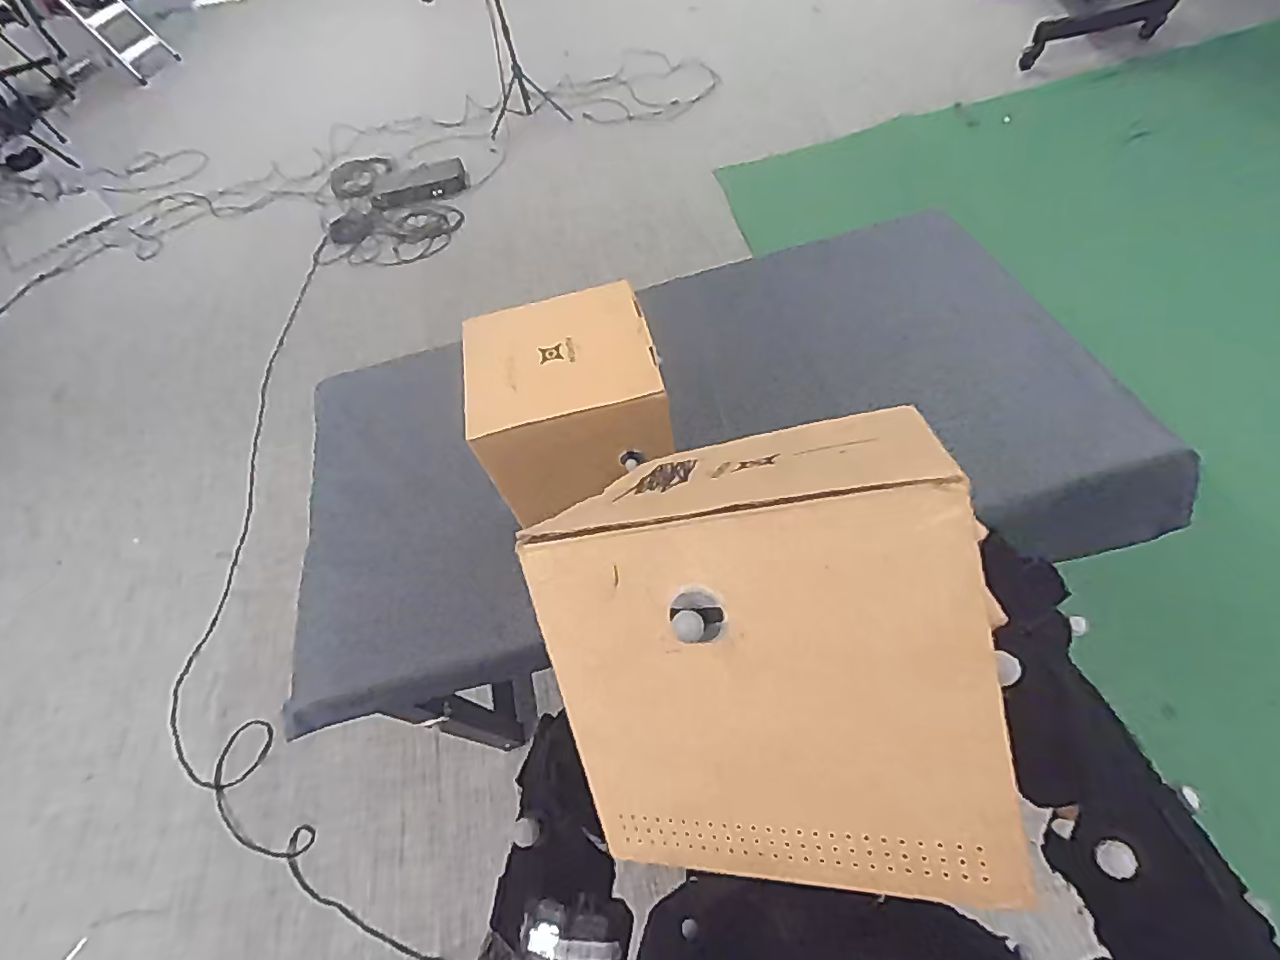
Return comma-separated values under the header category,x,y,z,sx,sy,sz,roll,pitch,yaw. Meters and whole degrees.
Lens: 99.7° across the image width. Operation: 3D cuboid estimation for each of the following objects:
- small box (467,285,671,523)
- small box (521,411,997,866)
category,x,y,z,sx,sy,sz,roll,pitch,yaw
small box,-0.067,-0.071,0.576,0.179,0.176,0.168,-15,54,0
small box,0.069,0.070,0.298,0.179,0.168,0.176,-10,100,24
